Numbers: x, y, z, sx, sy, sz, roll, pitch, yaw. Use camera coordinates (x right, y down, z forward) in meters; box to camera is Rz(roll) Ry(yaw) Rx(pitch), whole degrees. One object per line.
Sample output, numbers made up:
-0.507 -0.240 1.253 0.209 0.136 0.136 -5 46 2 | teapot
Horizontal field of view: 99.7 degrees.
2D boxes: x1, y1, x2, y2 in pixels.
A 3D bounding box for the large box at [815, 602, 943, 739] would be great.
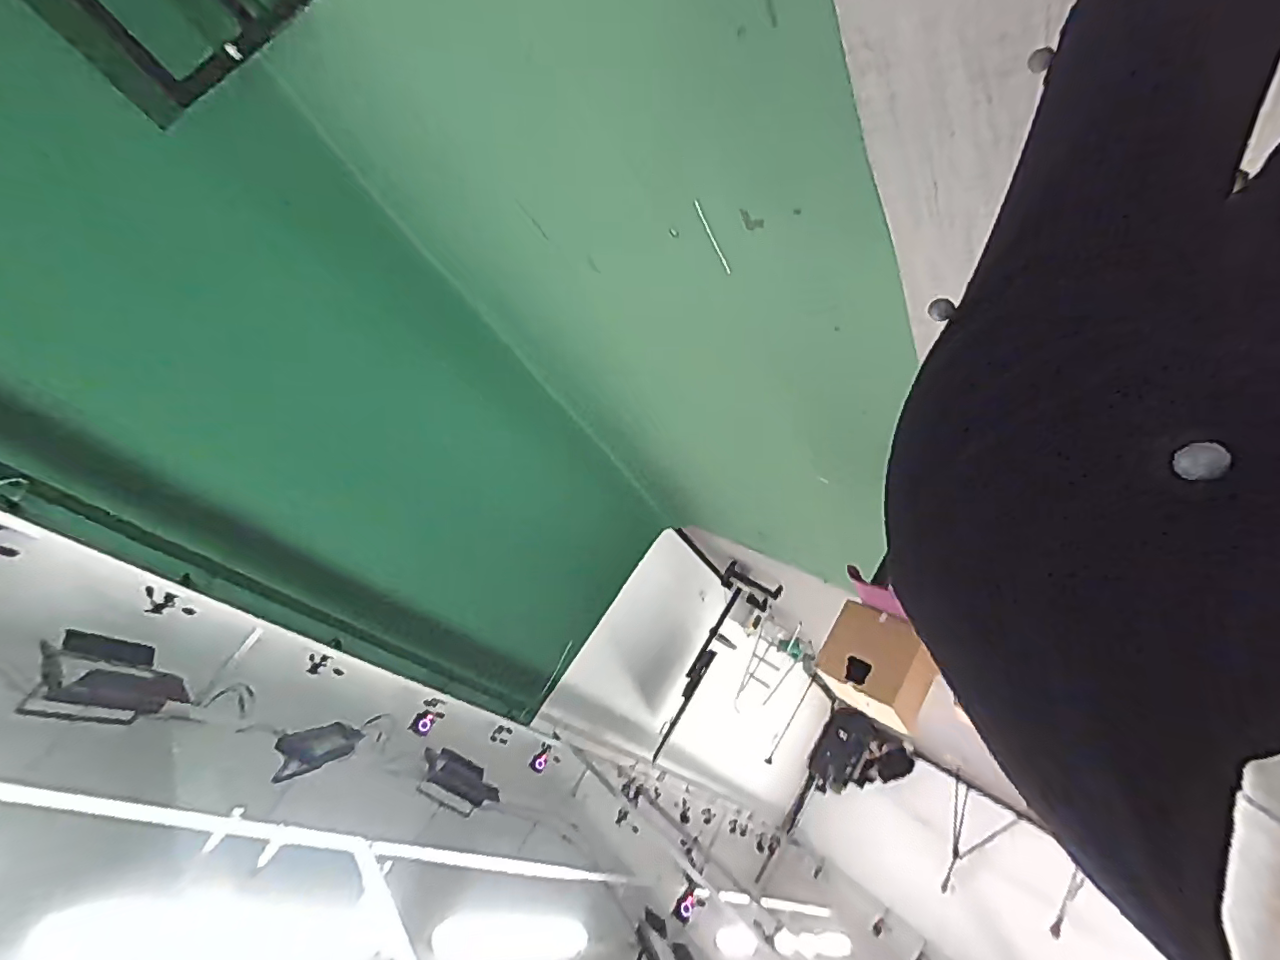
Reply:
0.948 0.743 2.119 0.320 0.320 0.408 17 156 44 | large box
